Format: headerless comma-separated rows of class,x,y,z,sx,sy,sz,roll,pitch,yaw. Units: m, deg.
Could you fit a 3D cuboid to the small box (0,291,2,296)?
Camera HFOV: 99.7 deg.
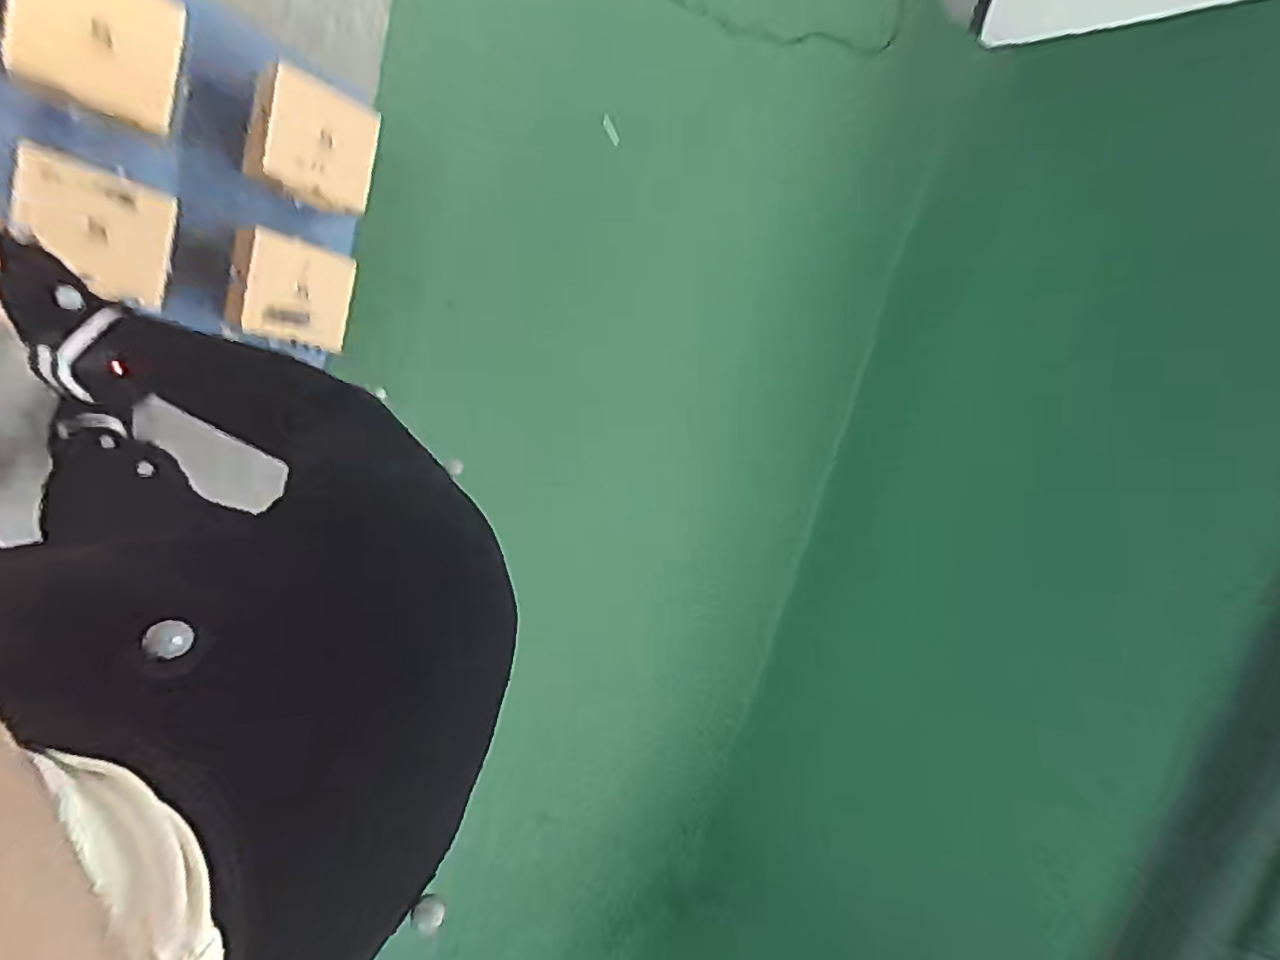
small box,-0.699,-0.215,0.449,0.179,0.176,0.168,-25,121,-40

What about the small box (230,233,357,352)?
small box,-0.690,-0.369,1.070,0.168,0.176,0.179,6,102,-48

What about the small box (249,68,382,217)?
small box,-0.613,-0.618,1.016,0.168,0.176,0.179,7,102,-47

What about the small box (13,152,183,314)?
small box,-0.858,-0.383,0.862,0.168,0.176,0.179,9,101,-48

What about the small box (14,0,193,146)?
small box,-0.804,-0.637,0.812,0.168,0.176,0.179,7,102,-48
